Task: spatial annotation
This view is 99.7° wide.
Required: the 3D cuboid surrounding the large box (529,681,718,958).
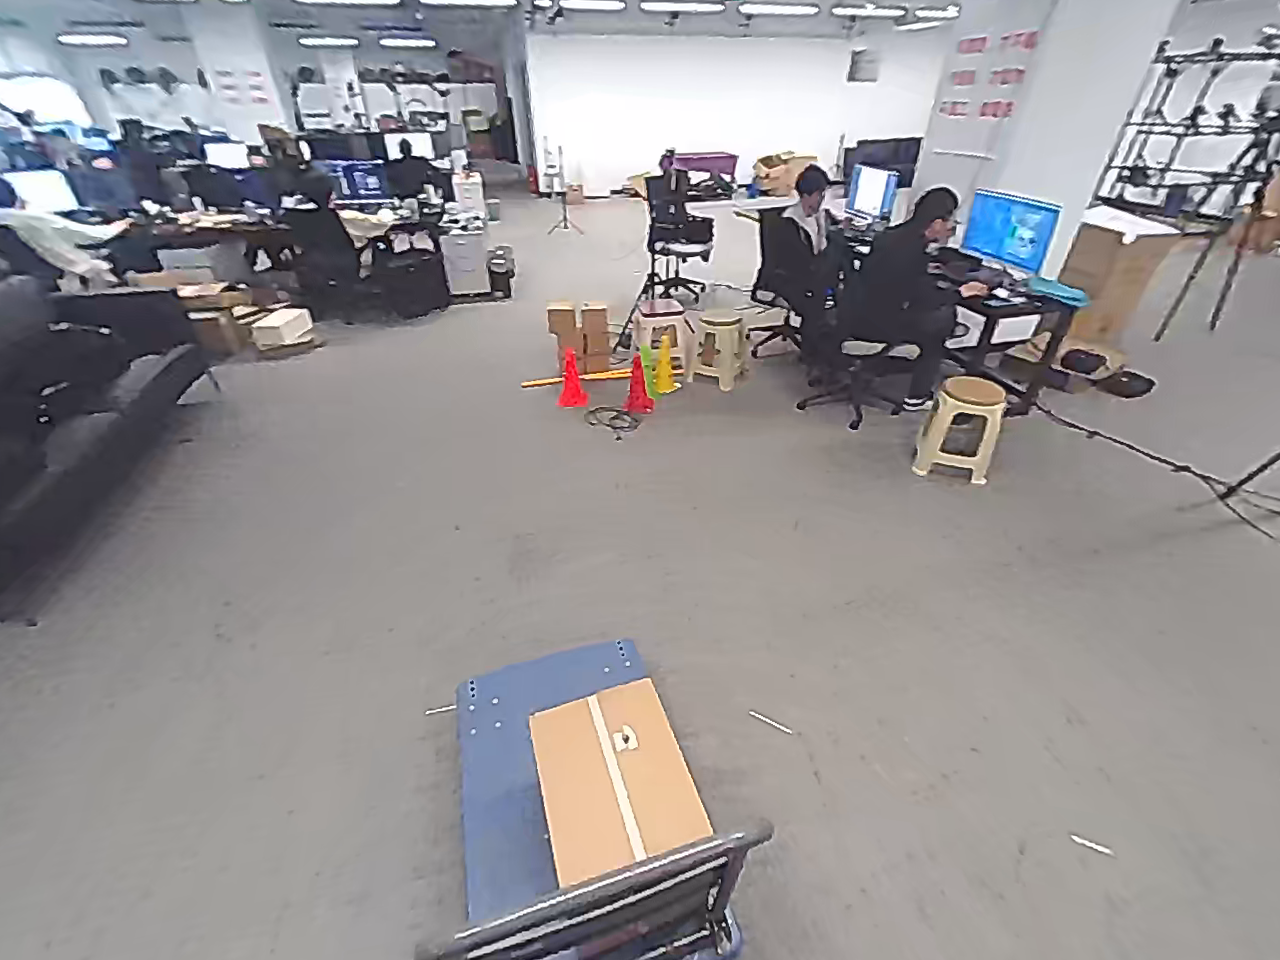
[{"bbox_3d":[-0.050,0.766,1.258,0.320,0.320,0.408,-12,36,-16],"label":"large box"}]
